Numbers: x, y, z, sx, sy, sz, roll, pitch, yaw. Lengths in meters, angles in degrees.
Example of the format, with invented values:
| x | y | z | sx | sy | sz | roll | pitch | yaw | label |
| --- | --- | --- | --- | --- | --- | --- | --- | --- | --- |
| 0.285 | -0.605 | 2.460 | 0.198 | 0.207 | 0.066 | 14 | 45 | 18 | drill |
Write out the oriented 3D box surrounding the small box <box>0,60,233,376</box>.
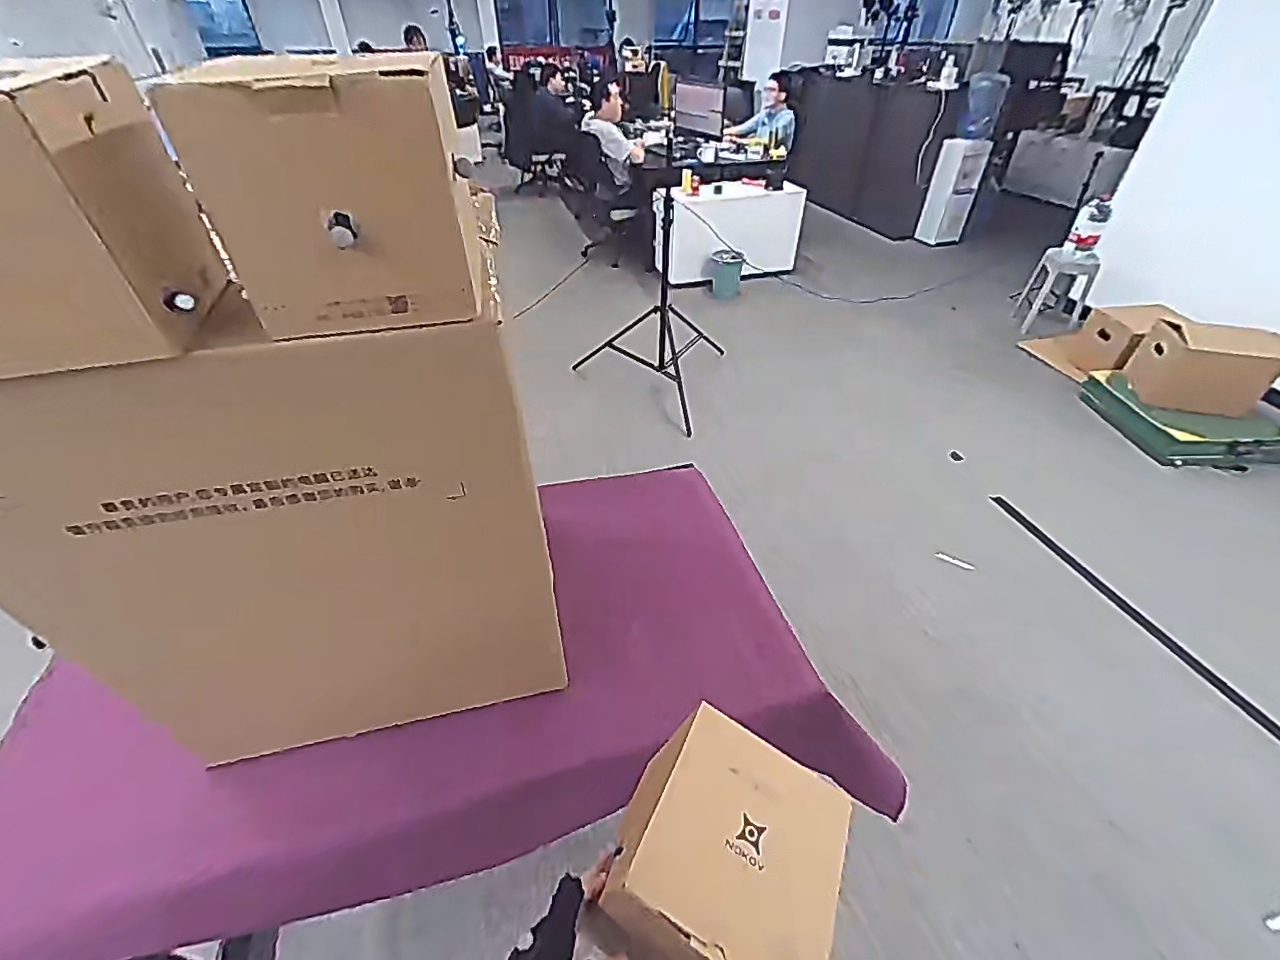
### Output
| x | y | z | sx | sy | sz | roll | pitch | yaw | label |
| --- | --- | --- | --- | --- | --- | --- | --- | --- | --- |
| -0.444 | -0.189 | 0.393 | 0.179 | 0.176 | 0.168 | -12 | 43 | -12 | small box |

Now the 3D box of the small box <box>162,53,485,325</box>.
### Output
| x | y | z | sx | sy | sz | roll | pitch | yaw | label |
| --- | --- | --- | --- | --- | --- | --- | --- | --- | --- |
| -0.227 | -0.239 | 0.450 | 0.168 | 0.176 | 0.179 | -8 | 43 | -10 | small box |

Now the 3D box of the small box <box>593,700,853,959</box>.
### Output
| x | y | z | sx | sy | sz | roll | pitch | yaw | label |
| --- | --- | --- | --- | --- | --- | --- | --- | --- | --- |
| 0.072 | 0.356 | 0.506 | 0.168 | 0.176 | 0.179 | 30 | 38 | 8 | small box |
